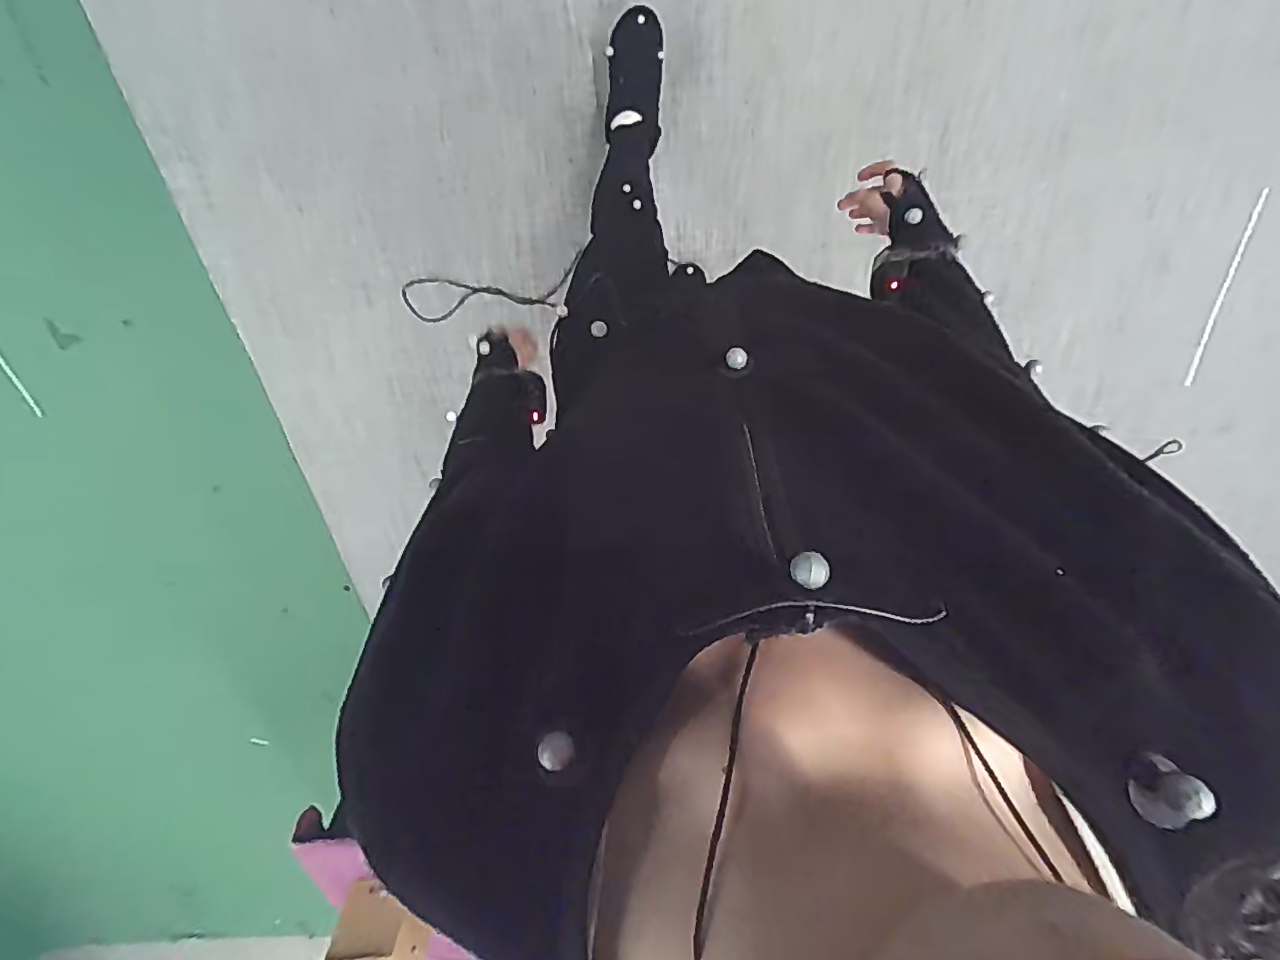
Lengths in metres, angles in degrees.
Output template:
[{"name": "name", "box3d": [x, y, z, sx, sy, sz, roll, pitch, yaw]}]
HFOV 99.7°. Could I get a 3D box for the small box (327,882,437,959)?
[{"name": "small box", "box3d": [-0.614, 1.107, 1.306, 0.168, 0.176, 0.179, -7, 120, 3]}]
